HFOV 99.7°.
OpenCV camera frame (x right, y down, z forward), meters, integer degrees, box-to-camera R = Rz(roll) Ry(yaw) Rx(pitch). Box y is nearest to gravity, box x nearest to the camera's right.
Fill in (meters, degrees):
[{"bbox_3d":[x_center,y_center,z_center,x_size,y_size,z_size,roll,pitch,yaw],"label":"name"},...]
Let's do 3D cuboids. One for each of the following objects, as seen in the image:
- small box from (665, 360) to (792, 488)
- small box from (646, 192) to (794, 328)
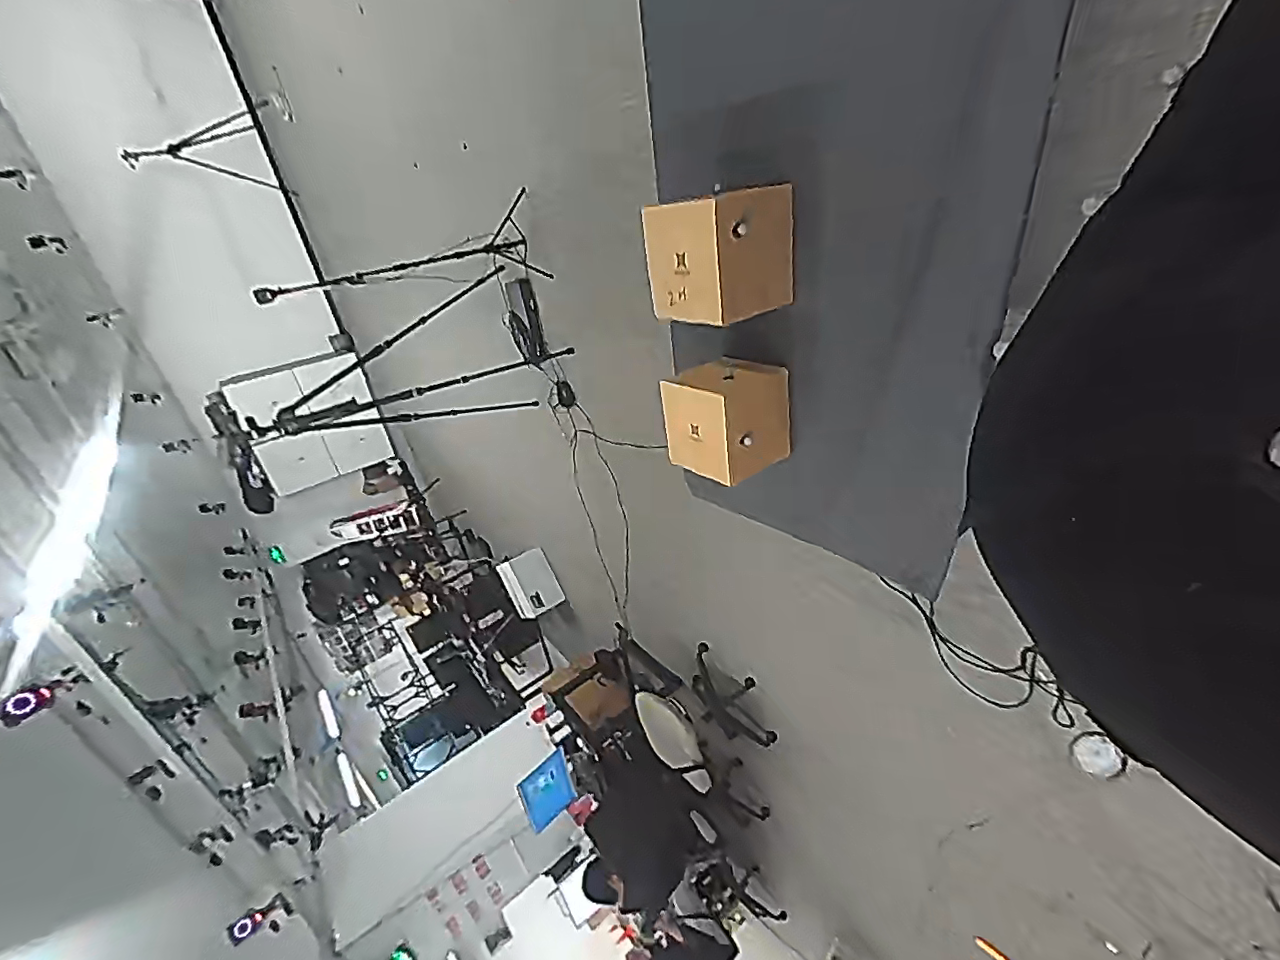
[{"bbox_3d":[0.171,-0.115,1.022,0.168,0.176,0.179,25,134,48],"label":"small box"},{"bbox_3d":[0.134,-0.360,0.878,0.168,0.176,0.179,25,134,48],"label":"small box"}]
